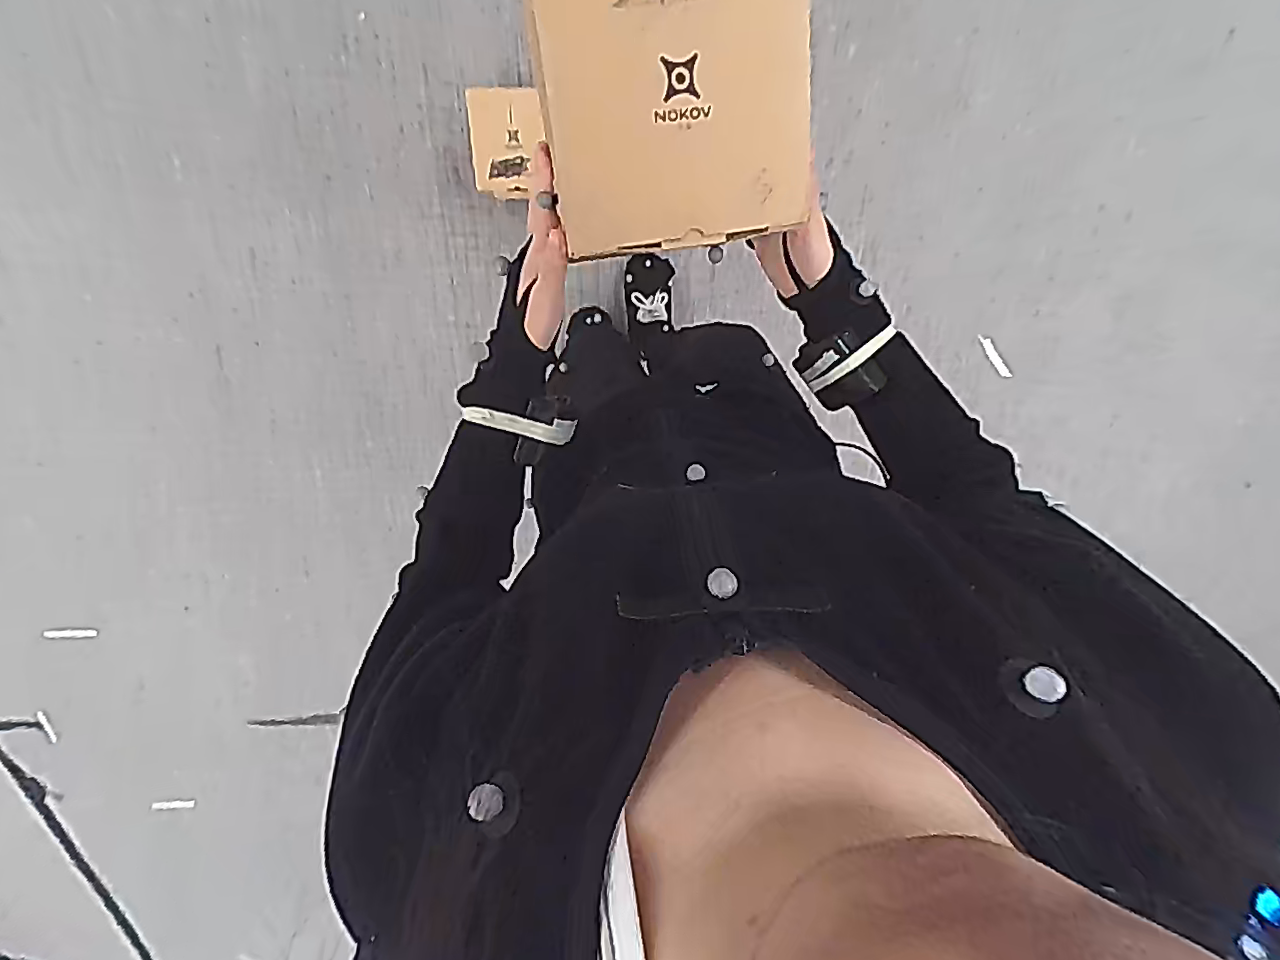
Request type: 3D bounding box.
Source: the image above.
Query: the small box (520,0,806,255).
[{"bbox_3d":[0.009,-0.269,0.401,0.168,0.176,0.179,-11,111,-6],"label":"small box"}]

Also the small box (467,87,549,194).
[{"bbox_3d":[-0.252,-0.702,1.135,0.168,0.176,0.179,-2,114,-3],"label":"small box"}]
